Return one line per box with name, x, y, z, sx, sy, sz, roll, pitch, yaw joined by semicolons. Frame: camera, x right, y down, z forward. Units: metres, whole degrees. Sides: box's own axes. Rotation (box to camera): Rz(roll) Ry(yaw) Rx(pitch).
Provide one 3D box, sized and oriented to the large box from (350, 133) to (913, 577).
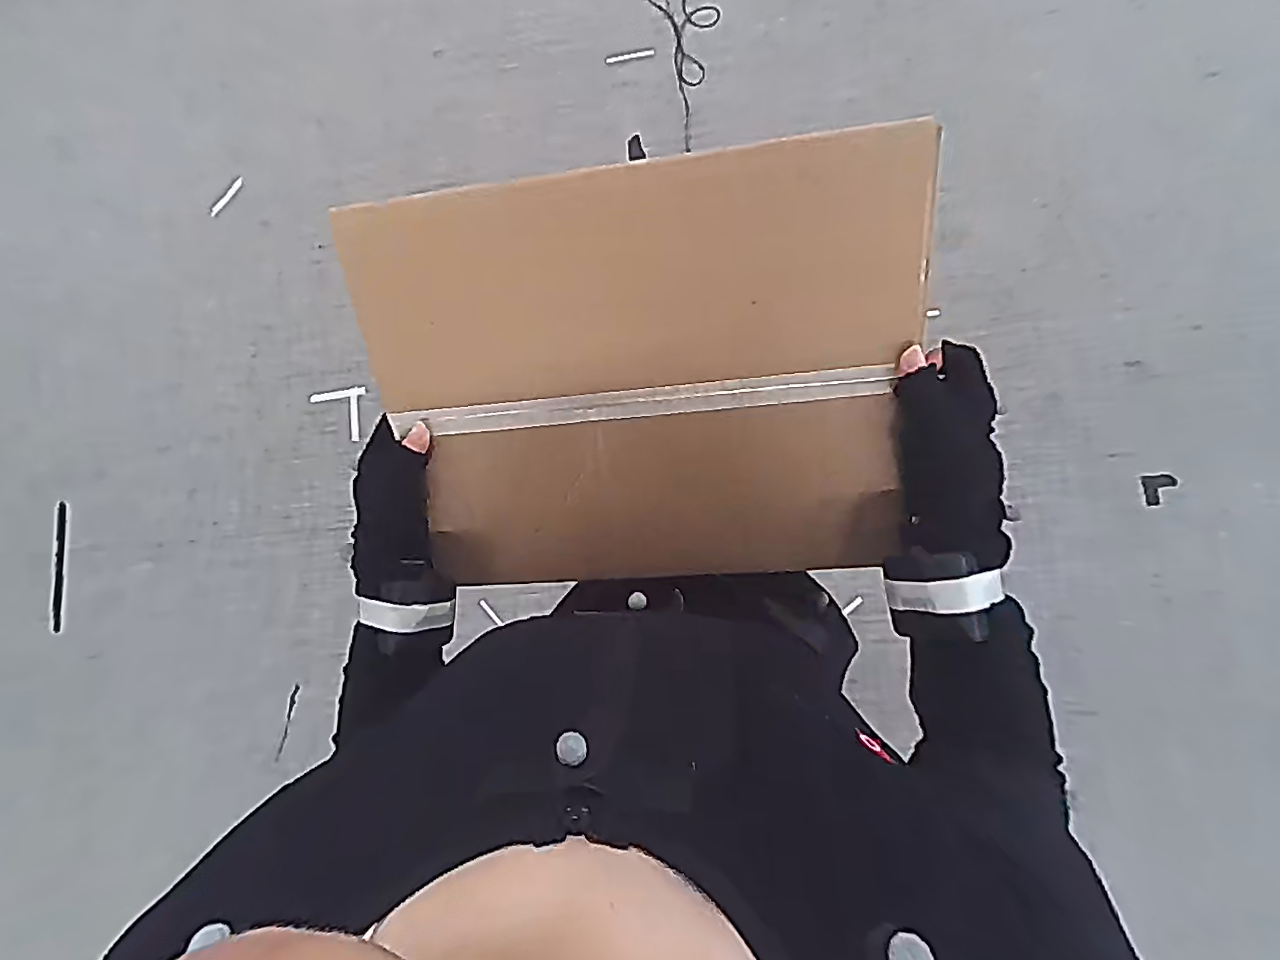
large box;0.015;-0.124;0.561;0.408;0.320;0.320;-4;112;8
